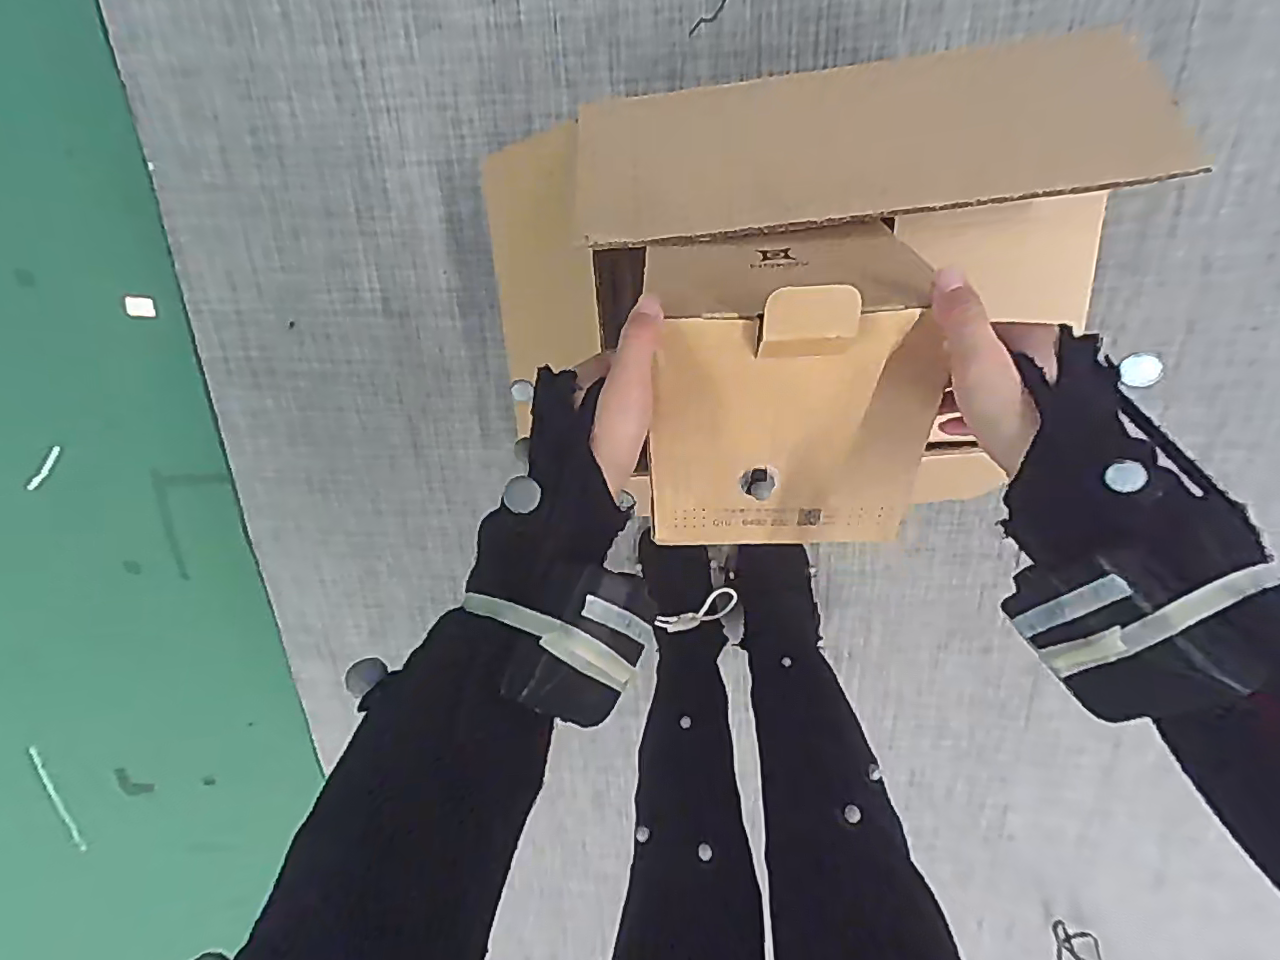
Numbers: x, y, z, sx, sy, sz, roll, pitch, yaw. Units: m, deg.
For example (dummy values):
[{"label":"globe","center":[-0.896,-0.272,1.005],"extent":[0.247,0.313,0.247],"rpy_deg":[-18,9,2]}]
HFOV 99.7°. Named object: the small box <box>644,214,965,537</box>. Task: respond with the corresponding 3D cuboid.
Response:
[{"label":"small box","center":[0.089,-0.078,0.390],"extent":[0.168,0.179,0.176],"rpy_deg":[-1,130,3]}]
